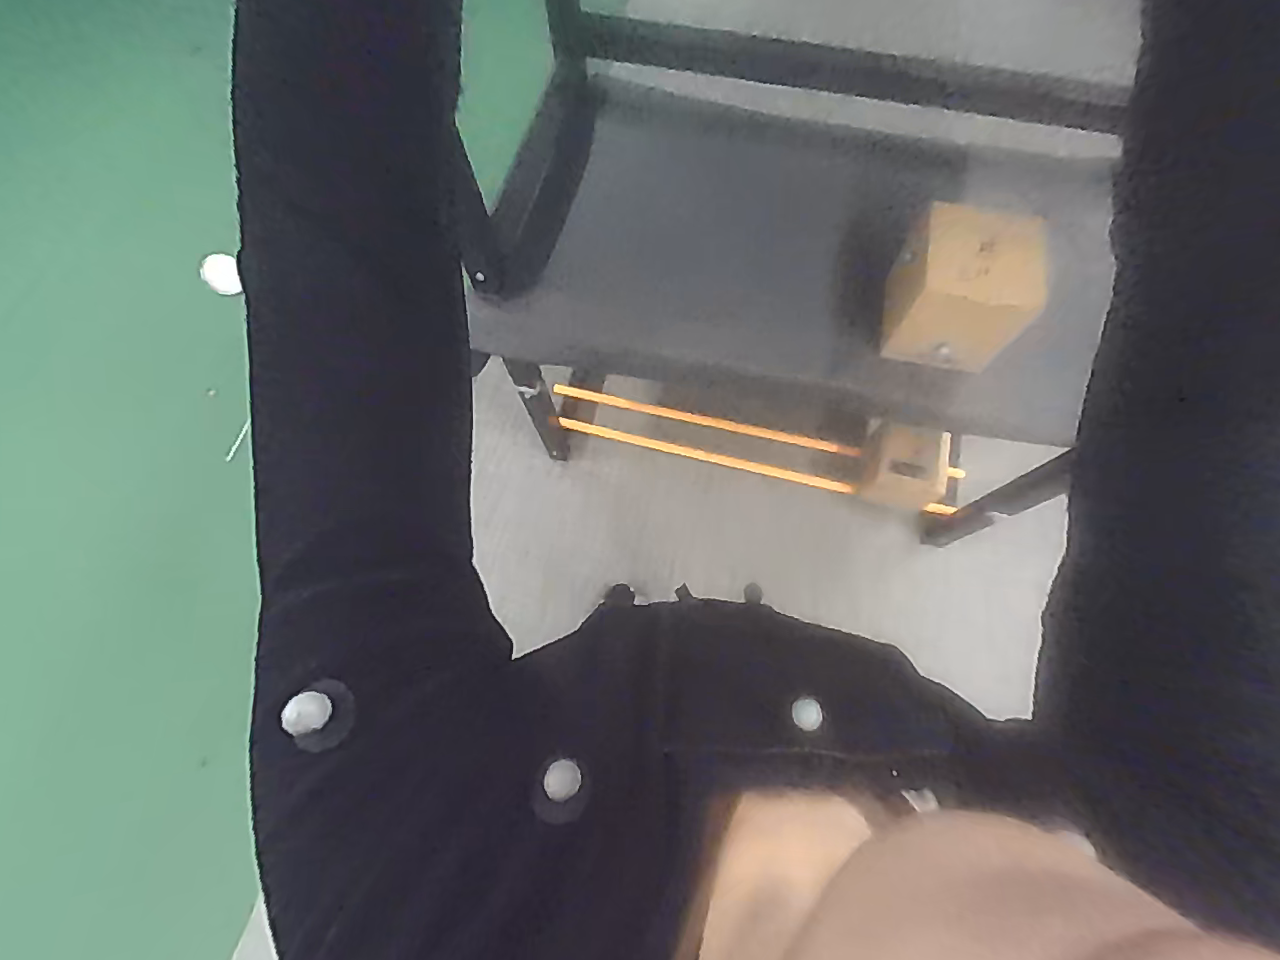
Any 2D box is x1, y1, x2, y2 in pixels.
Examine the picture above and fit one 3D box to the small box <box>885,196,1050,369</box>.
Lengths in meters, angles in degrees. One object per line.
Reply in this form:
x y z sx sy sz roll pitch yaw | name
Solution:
0.504 -0.305 0.854 0.168 0.176 0.179 12 69 7 | small box
